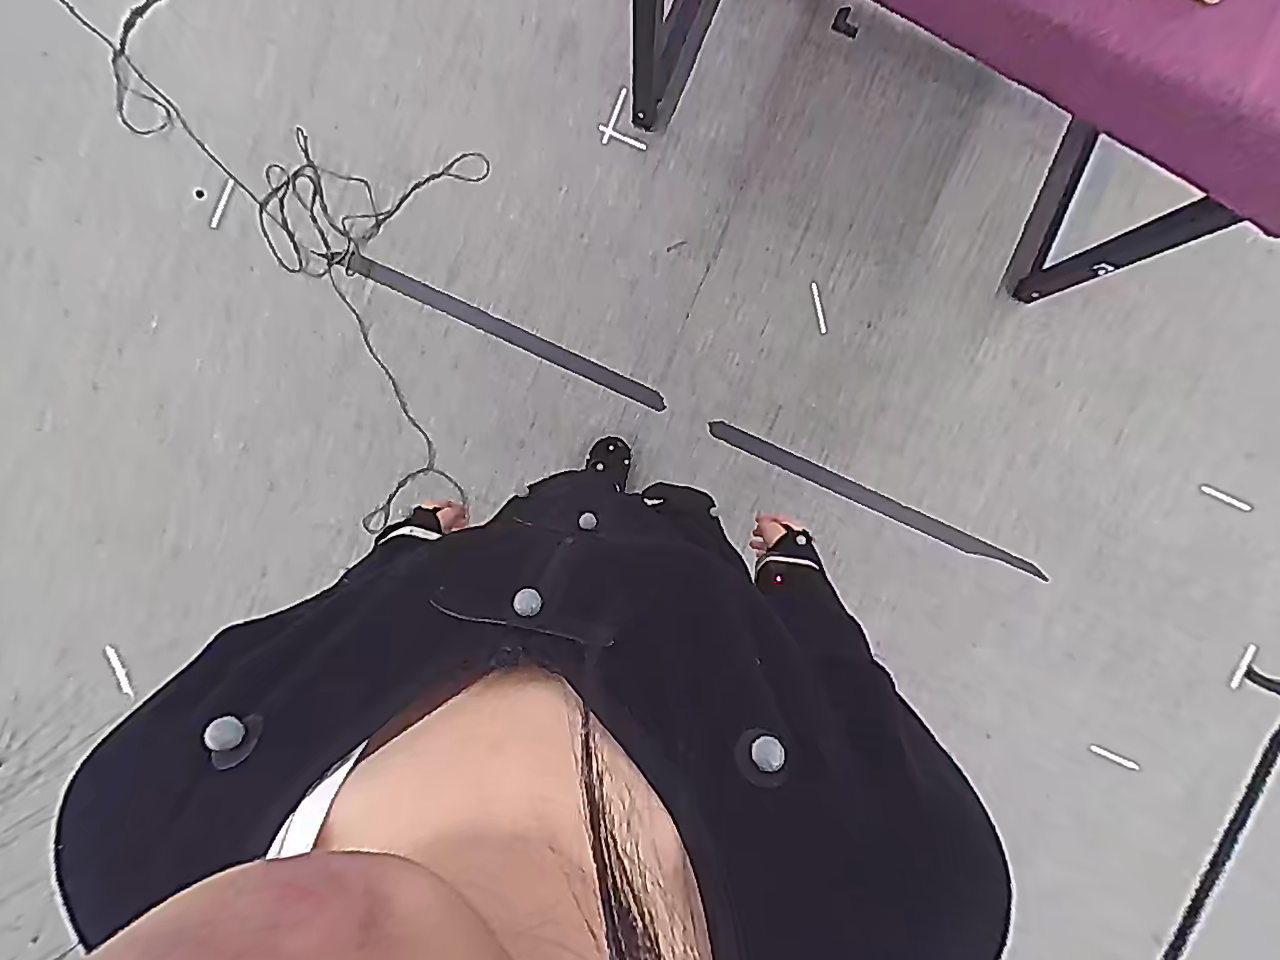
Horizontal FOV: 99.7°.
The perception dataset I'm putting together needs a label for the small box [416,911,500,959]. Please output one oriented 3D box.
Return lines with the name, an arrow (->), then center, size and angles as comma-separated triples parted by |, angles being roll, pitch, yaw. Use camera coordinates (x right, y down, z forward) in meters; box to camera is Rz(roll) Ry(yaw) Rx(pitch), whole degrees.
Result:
small box -> -0.419, 1.101, 1.169 | 0.168, 0.176, 0.179 | 20, 92, -2
